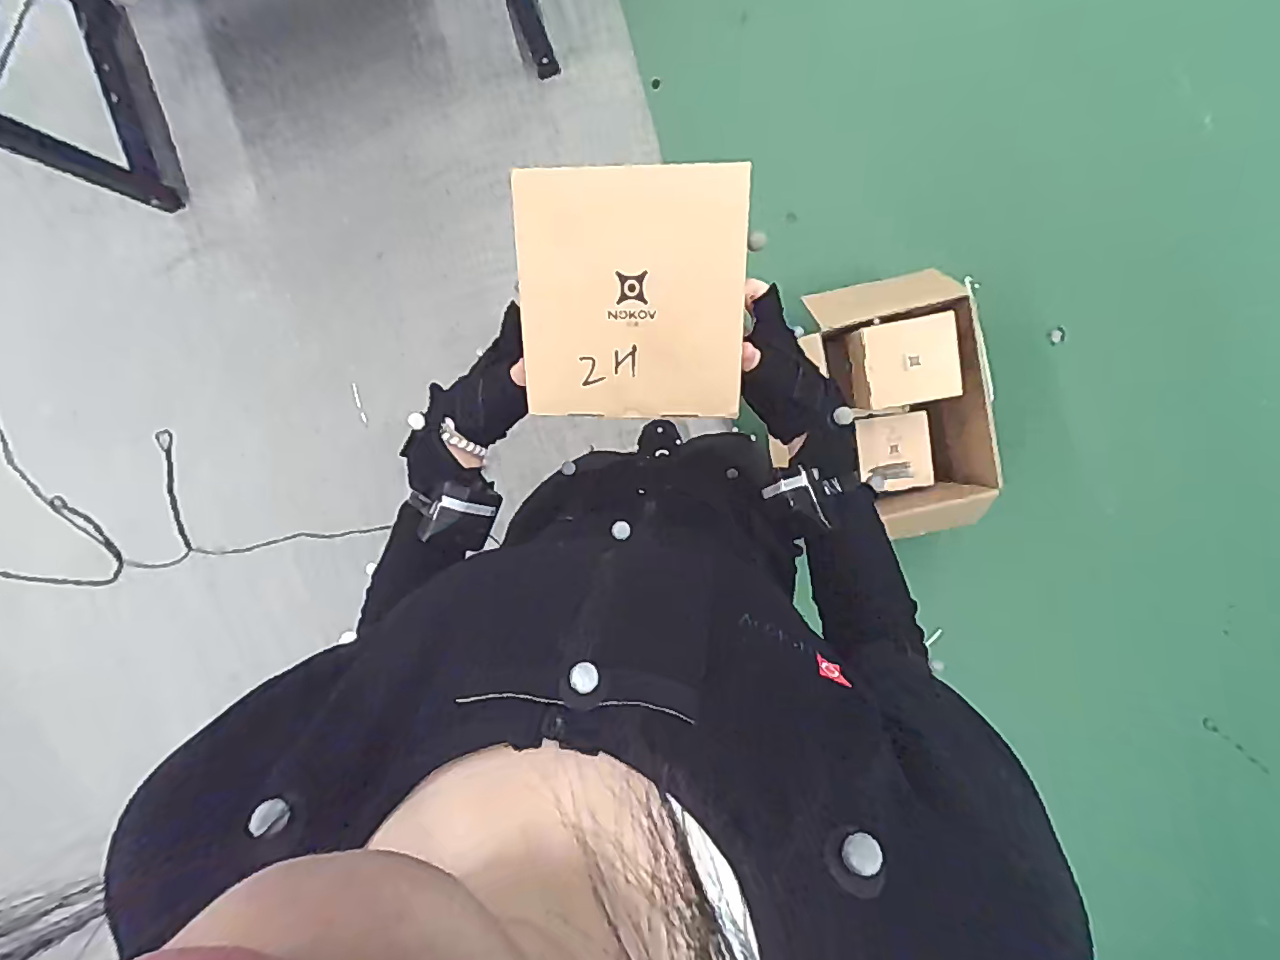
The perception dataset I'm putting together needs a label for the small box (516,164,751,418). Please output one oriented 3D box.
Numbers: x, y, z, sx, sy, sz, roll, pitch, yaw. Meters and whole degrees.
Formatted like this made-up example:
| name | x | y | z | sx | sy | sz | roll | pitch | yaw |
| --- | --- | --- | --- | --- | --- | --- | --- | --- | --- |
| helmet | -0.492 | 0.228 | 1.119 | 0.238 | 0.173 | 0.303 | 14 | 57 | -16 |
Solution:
| name | x | y | z | sx | sy | sz | roll | pitch | yaw |
| --- | --- | --- | --- | --- | --- | --- | --- | --- | --- |
| small box | -0.002 | -0.156 | 0.471 | 0.168 | 0.176 | 0.179 | 1 | 109 | 4 |
